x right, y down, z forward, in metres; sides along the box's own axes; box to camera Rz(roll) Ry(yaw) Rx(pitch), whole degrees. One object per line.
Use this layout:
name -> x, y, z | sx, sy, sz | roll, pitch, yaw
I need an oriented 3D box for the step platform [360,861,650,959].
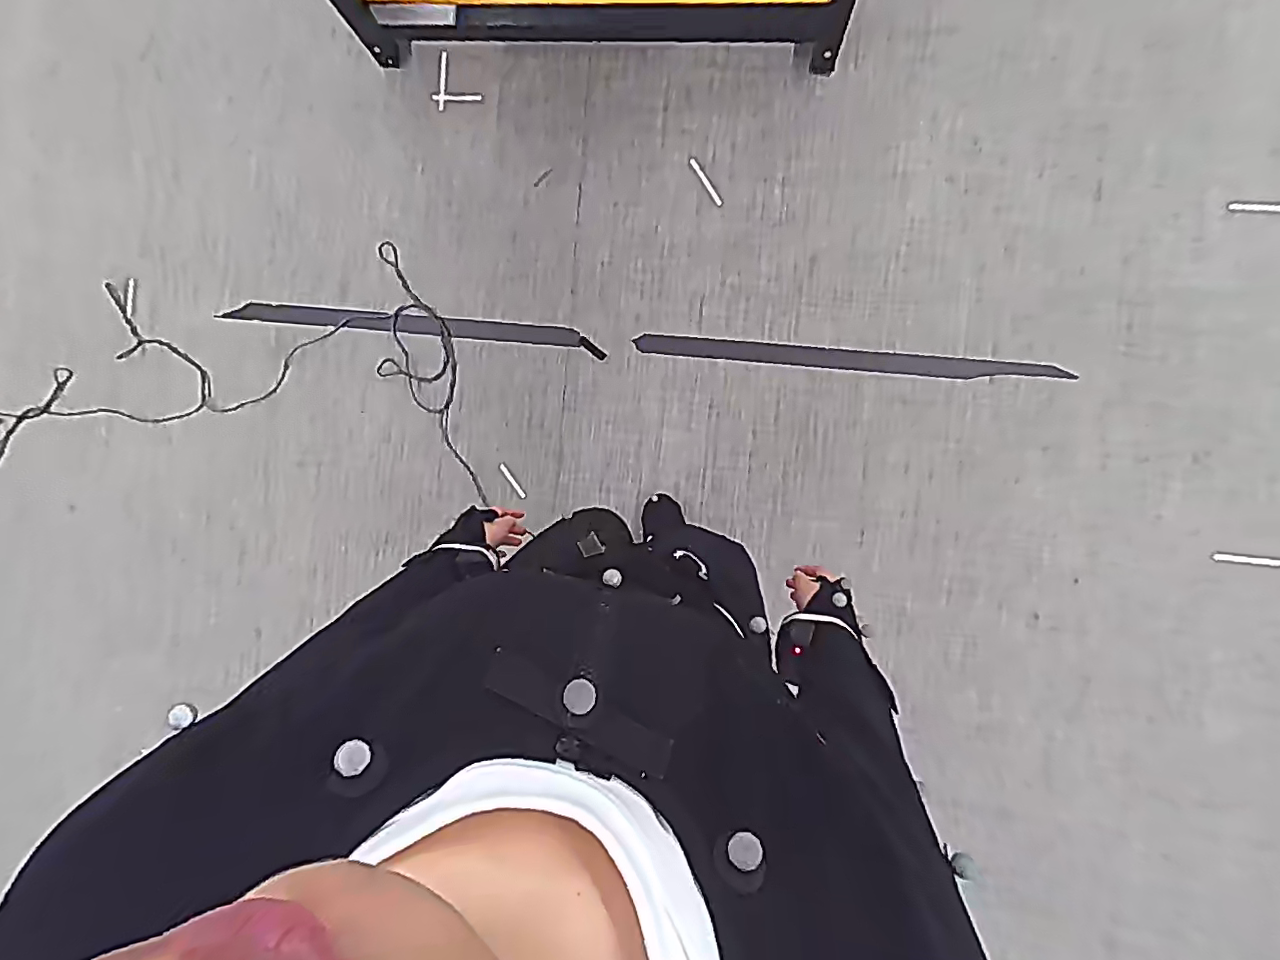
step platform -> -0.323, 1.177, 1.317 | 0.684, 0.204, 0.286 | 5, 91, 5
